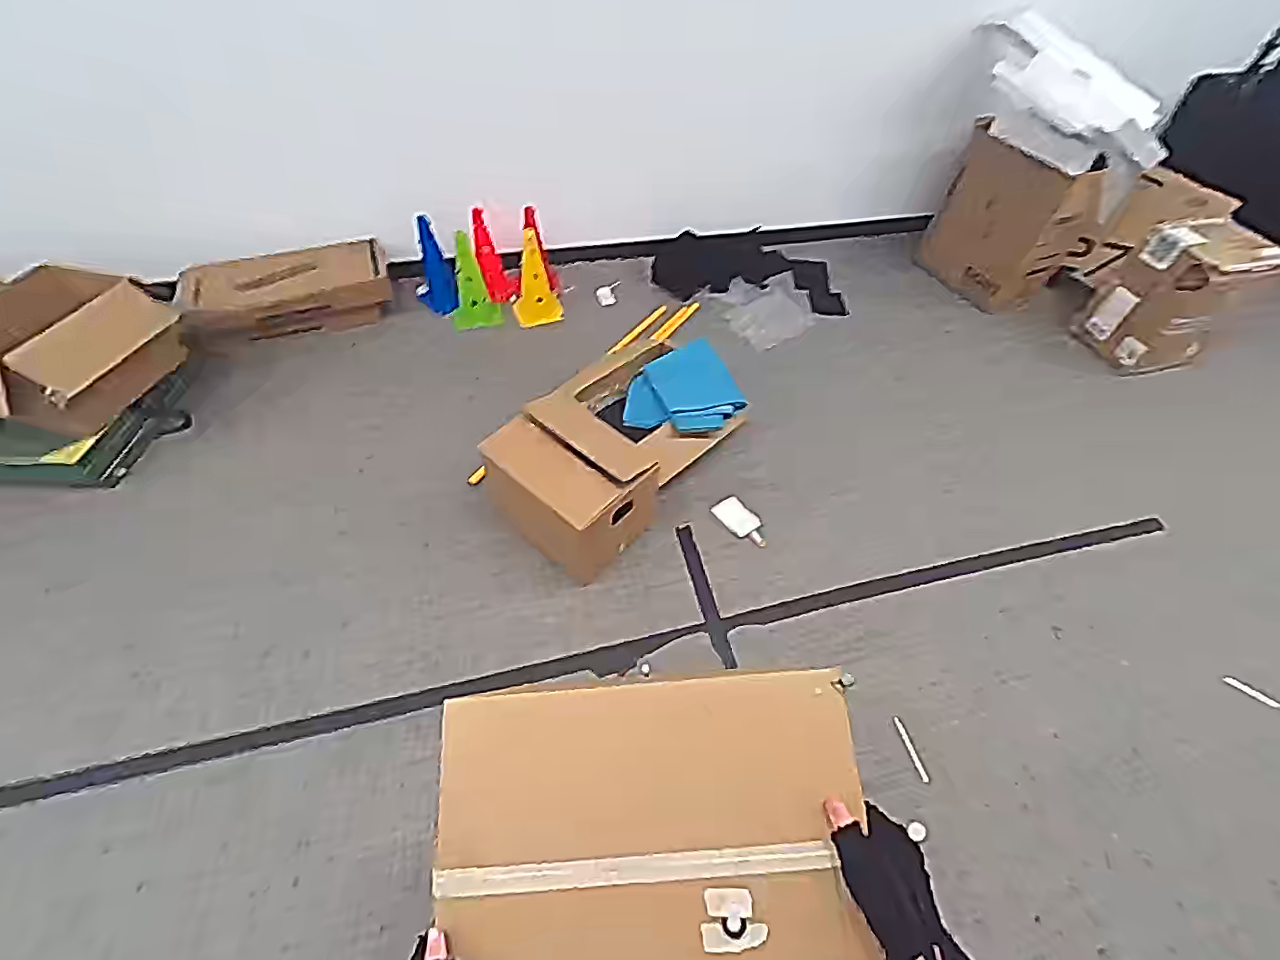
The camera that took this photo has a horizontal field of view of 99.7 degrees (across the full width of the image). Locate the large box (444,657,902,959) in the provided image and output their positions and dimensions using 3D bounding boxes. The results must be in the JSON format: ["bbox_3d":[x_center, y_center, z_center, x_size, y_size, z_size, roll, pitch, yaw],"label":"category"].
[{"bbox_3d":[0.024,0.389,0.634,0.408,0.320,0.320,-5,72,1],"label":"large box"}]
